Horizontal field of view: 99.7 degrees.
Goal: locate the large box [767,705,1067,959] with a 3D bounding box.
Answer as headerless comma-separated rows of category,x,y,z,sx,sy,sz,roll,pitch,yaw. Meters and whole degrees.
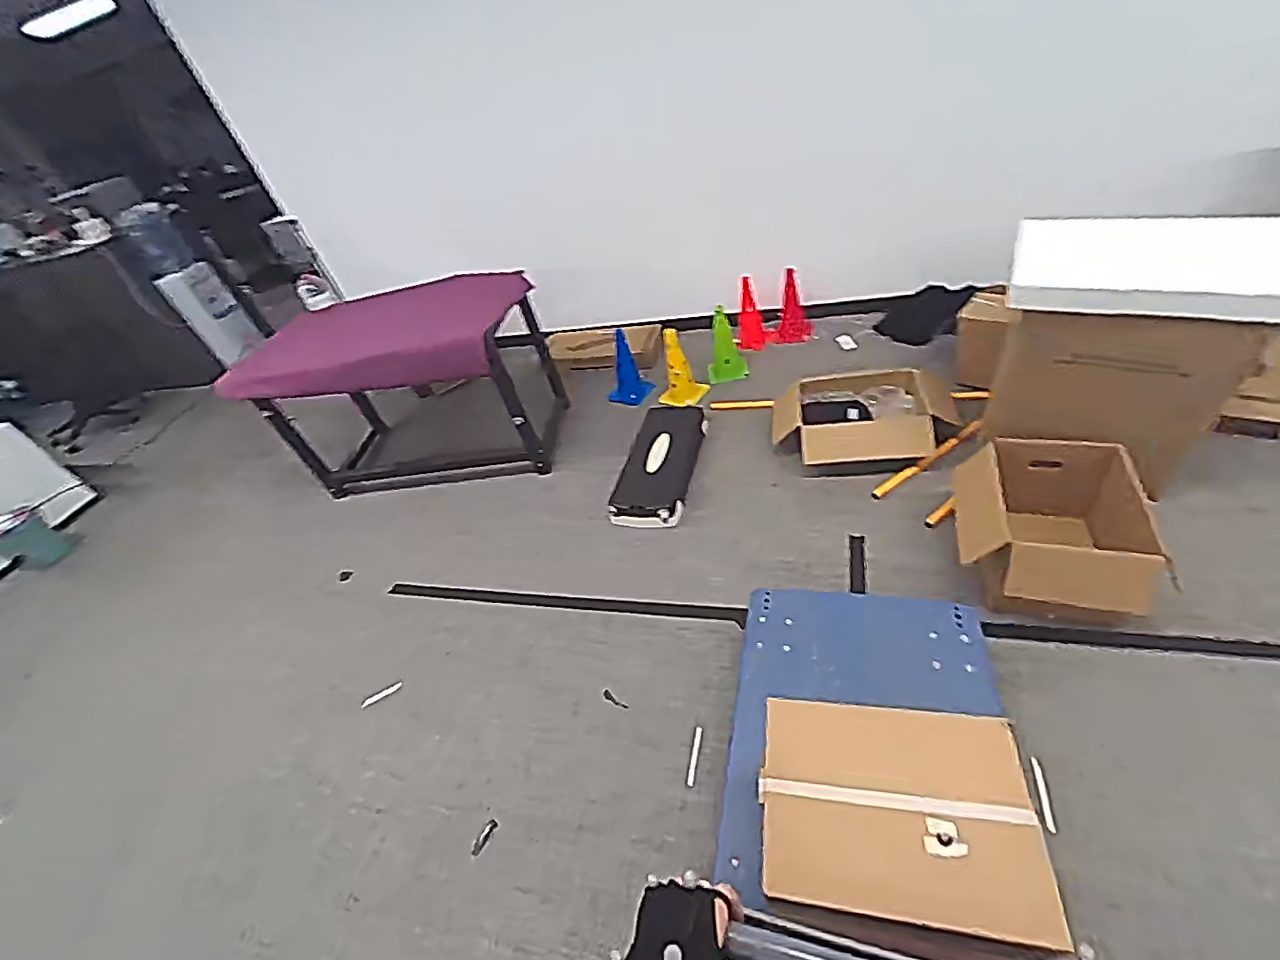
large box,0.440,0.642,0.979,0.408,0.320,0.320,-1,43,16
